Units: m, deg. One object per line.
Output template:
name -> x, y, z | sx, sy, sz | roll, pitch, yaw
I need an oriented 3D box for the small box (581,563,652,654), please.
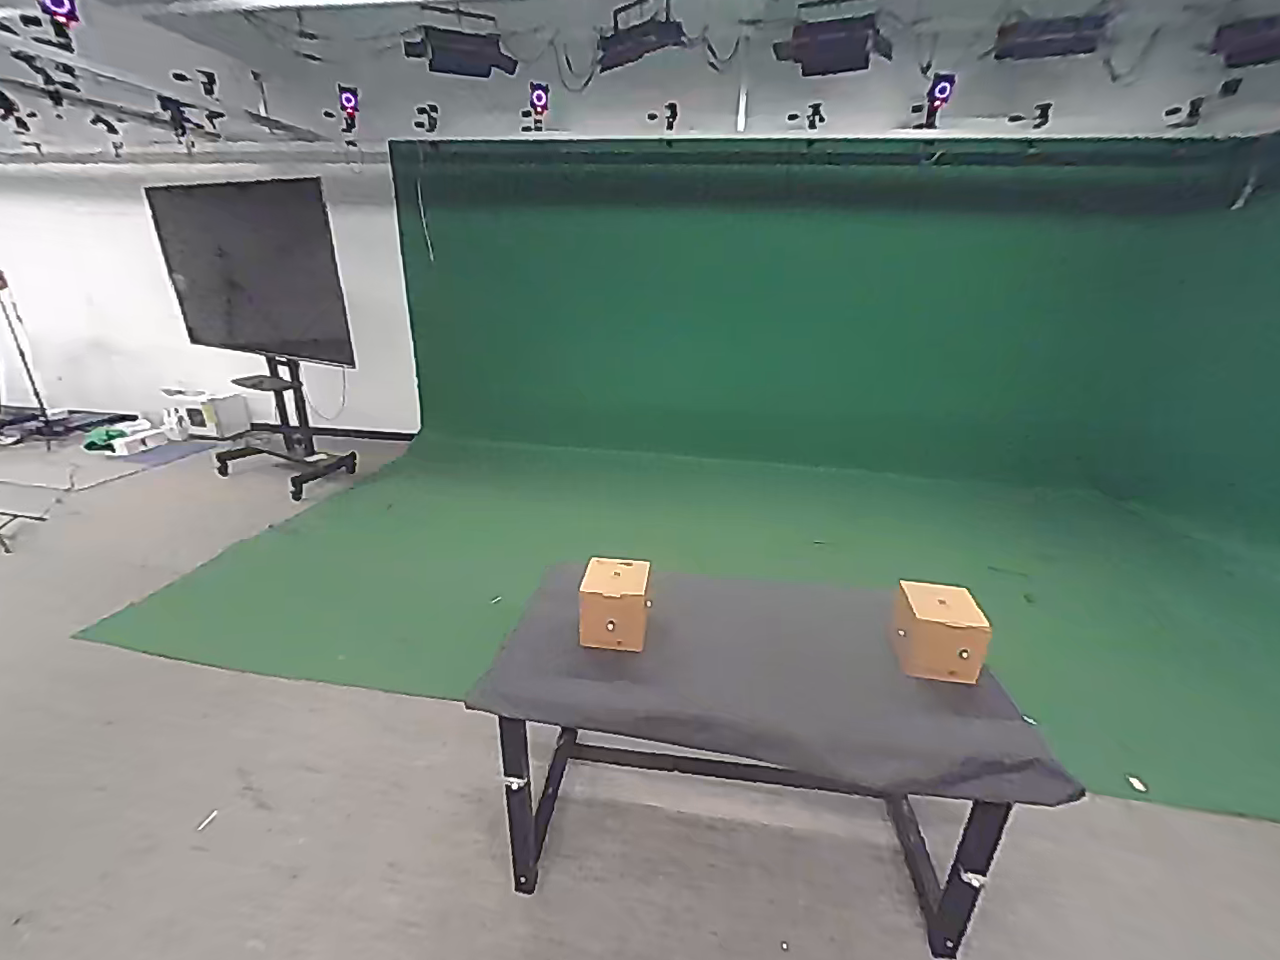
small box -> -0.058, 0.341, 1.438 | 0.168, 0.176, 0.179 | 4, 21, 5

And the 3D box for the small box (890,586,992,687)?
small box -> 0.744, 0.390, 1.355 | 0.168, 0.176, 0.179 | 6, 20, 9
